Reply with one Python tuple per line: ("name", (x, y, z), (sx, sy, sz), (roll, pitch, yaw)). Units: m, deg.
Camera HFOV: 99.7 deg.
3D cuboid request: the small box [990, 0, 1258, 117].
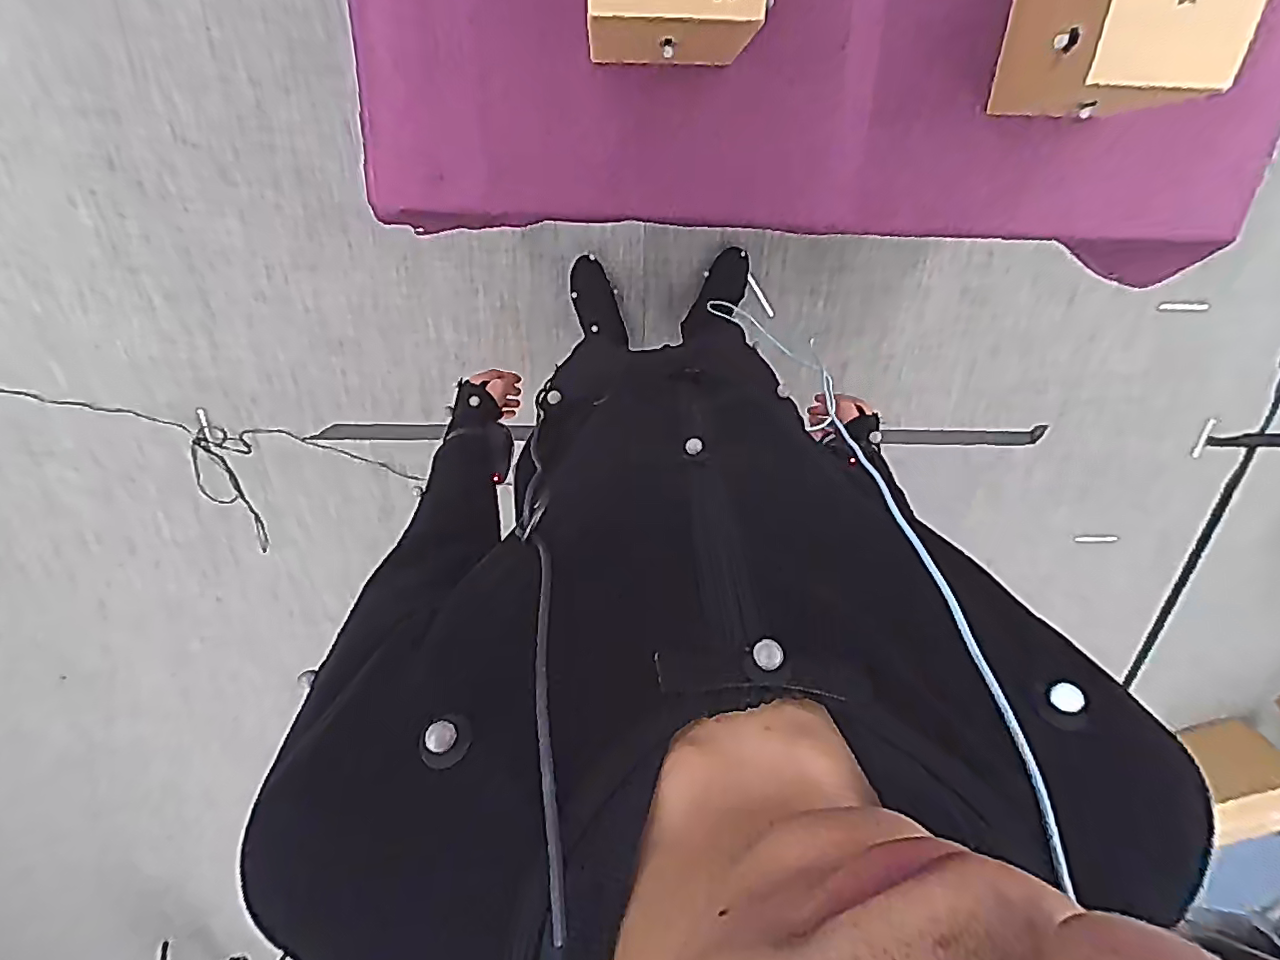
("small box", (0.543, -0.531, 0.616), (0.168, 0.176, 0.179), (0, 115, -4))
